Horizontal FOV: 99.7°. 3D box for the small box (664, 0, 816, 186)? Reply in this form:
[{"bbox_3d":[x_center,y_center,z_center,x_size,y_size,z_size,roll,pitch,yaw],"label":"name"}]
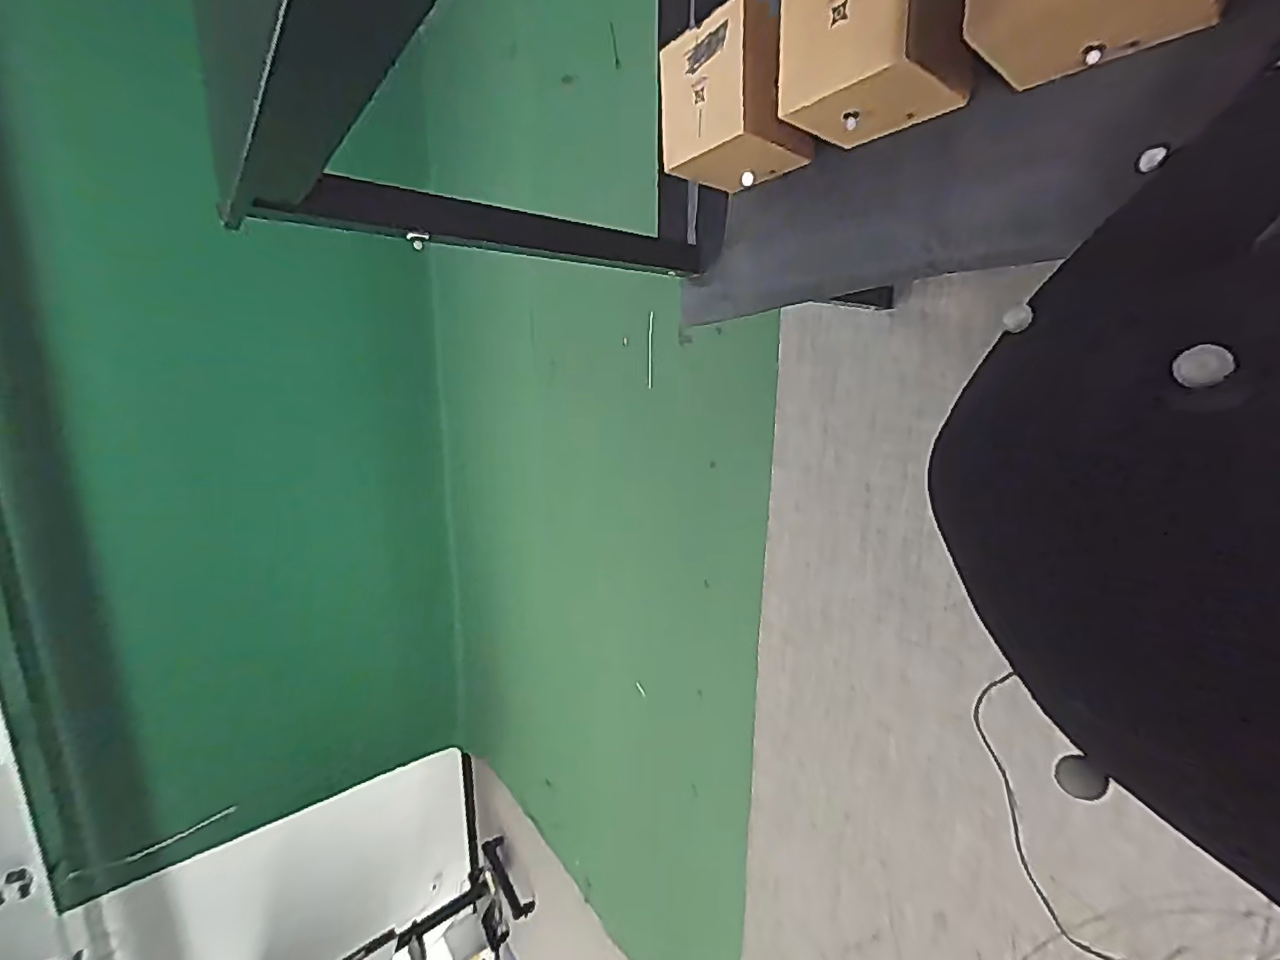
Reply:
[{"bbox_3d":[0.154,-0.584,0.833,0.168,0.176,0.179,10,106,51],"label":"small box"}]
